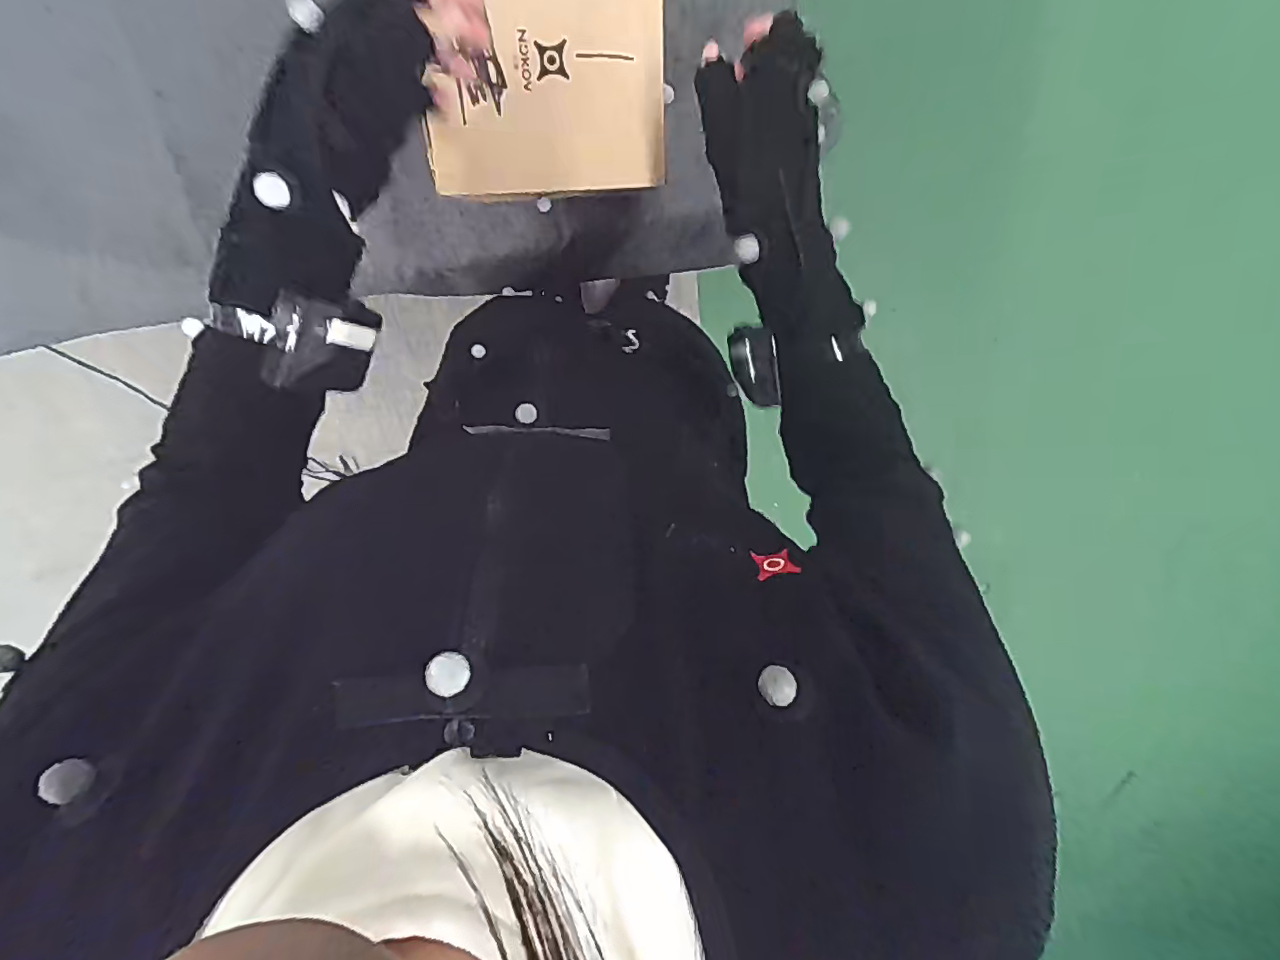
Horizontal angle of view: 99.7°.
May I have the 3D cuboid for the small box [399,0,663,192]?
[{"bbox_3d":[-0.074,-0.332,0.440,0.179,0.176,0.168,-3,117,-2],"label":"small box"}]
